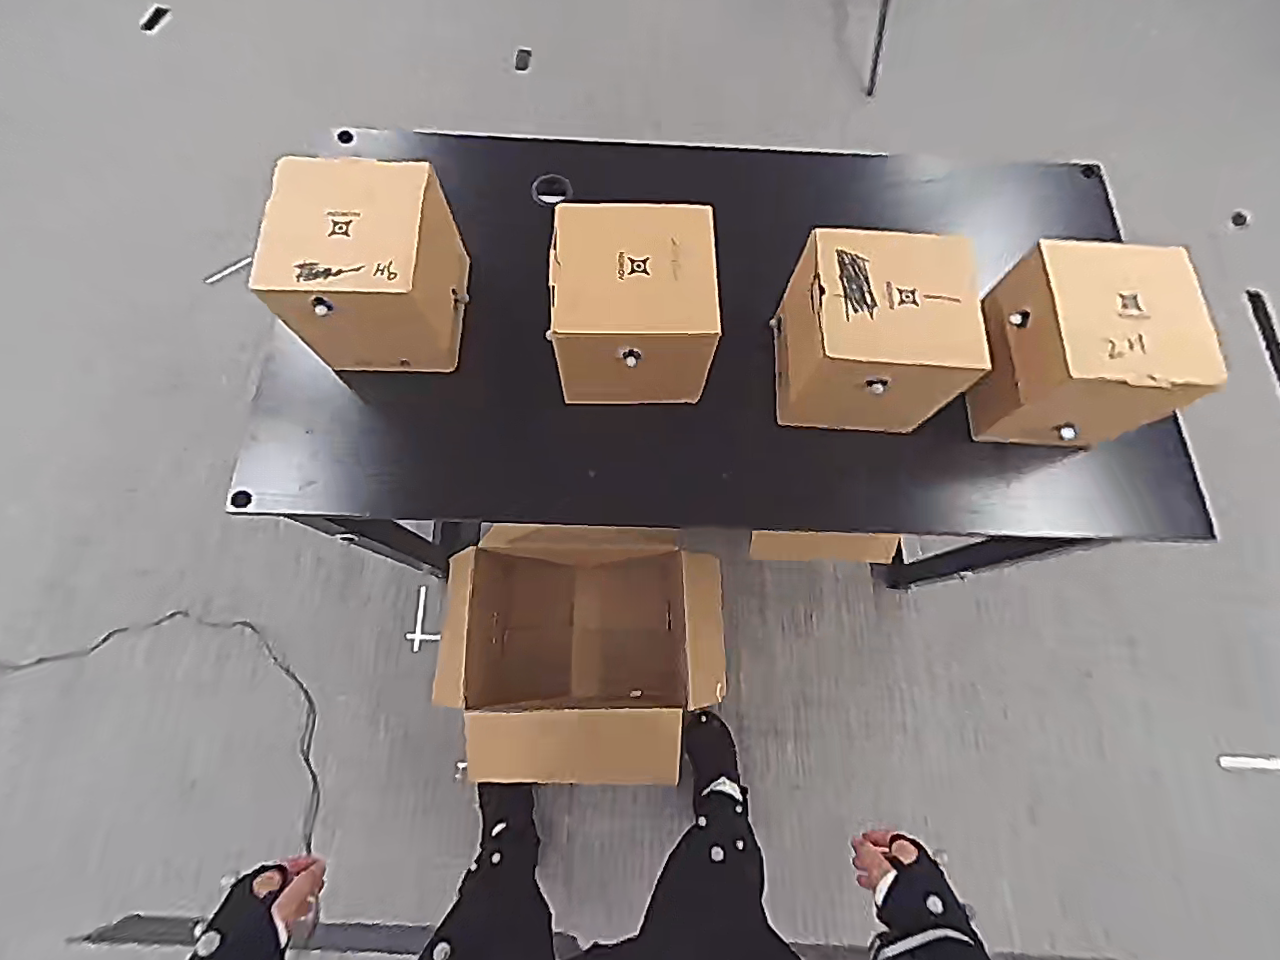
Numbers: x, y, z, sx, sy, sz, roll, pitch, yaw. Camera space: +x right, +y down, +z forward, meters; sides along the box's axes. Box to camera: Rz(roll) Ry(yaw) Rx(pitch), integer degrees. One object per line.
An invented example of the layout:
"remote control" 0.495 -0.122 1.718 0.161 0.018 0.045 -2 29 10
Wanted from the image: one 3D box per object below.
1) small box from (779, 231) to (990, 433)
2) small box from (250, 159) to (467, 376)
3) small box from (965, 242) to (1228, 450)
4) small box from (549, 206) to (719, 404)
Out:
"small box" 0.269 -0.165 0.644 0.179 0.176 0.168 4 72 -2
"small box" -0.316 -0.246 0.651 0.168 0.176 0.179 1 72 -2
"small box" 0.514 -0.152 0.647 0.168 0.176 0.179 3 72 1
"small box" -0.009 -0.198 0.648 0.179 0.176 0.168 -1 73 -3
